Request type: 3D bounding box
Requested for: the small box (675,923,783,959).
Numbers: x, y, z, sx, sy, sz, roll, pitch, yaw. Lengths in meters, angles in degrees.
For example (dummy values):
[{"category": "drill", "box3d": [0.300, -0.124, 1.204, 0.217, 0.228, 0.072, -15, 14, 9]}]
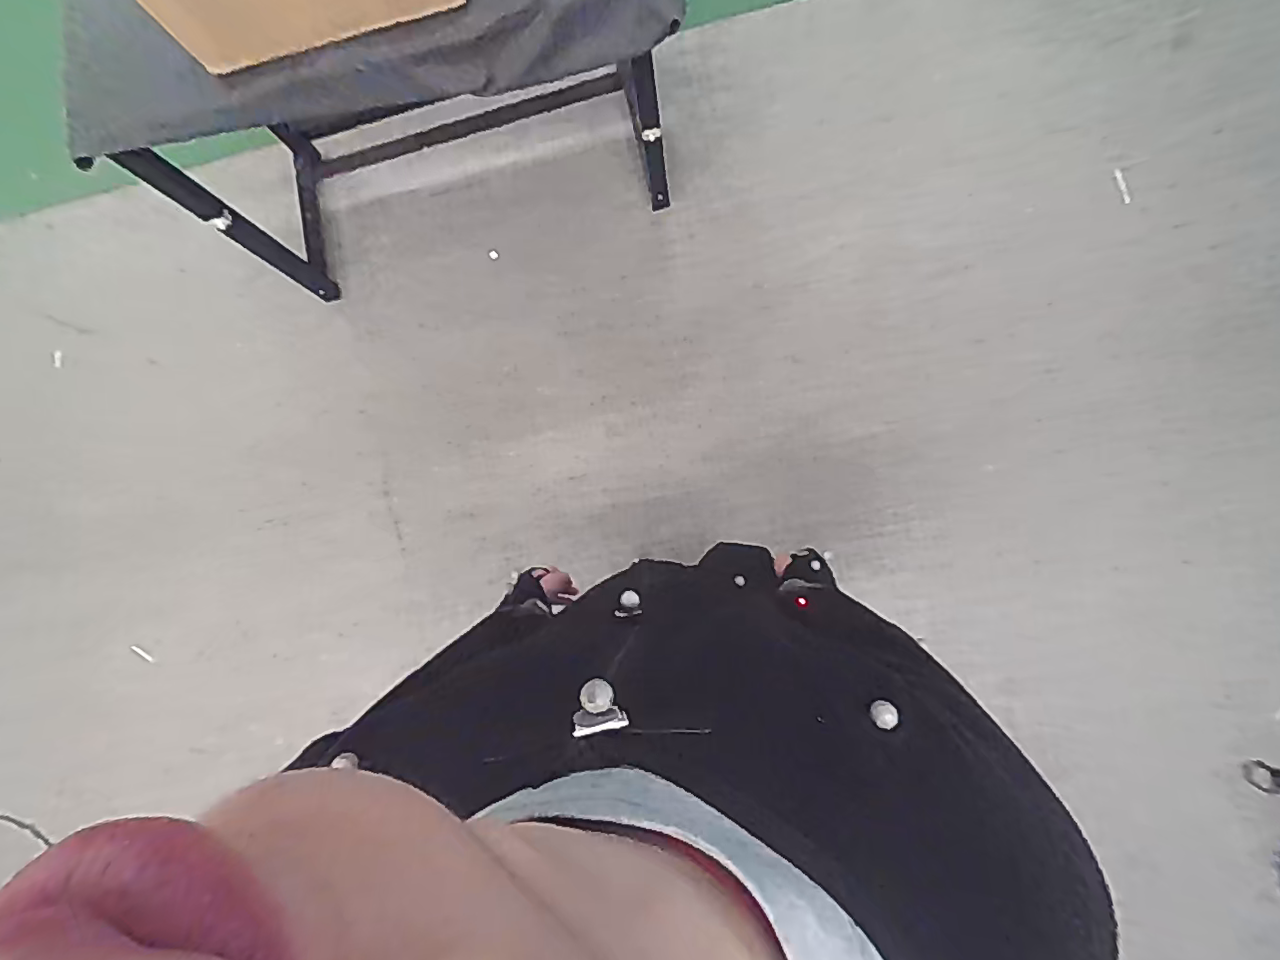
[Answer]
[{"category": "small box", "box3d": [0.147, 0.801, 0.781, 0.168, 0.176, 0.179, -15, 83, 4]}]
